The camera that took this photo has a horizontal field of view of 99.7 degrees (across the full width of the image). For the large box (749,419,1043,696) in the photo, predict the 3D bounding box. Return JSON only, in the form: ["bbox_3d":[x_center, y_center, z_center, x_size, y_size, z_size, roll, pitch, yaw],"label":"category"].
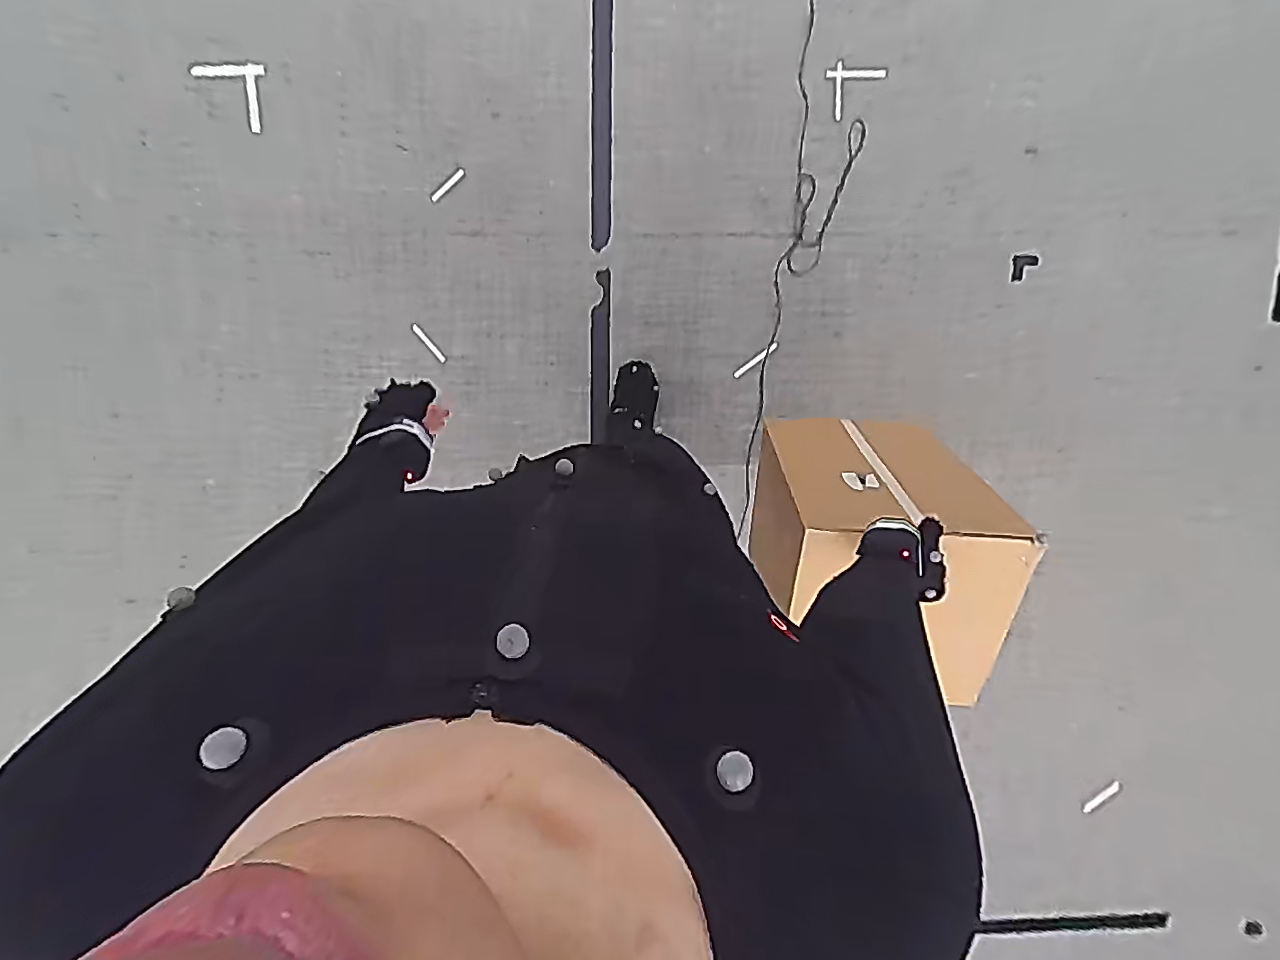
[{"bbox_3d":[0.390,0.113,0.966,0.320,0.408,0.320,2,119,3],"label":"large box"}]
